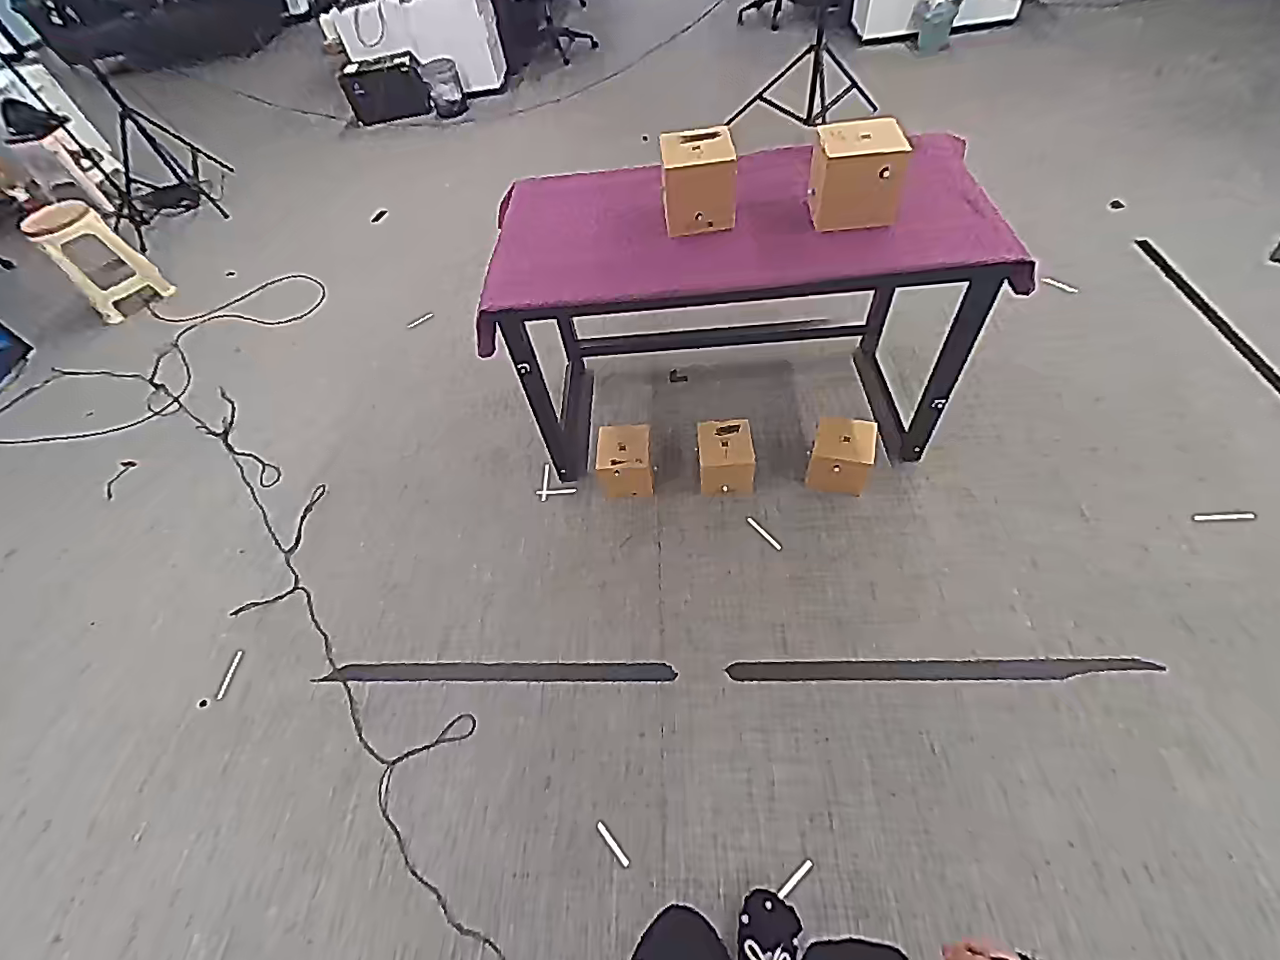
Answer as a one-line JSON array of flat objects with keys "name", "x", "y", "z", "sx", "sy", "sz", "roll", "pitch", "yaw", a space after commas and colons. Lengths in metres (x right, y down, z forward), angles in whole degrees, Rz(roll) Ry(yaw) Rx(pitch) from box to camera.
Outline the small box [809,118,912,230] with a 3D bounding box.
[{"name": "small box", "x": 0.500, "y": -0.704, "z": 1.252, "sx": 0.179, "sy": 0.176, "sz": 0.168, "roll": -2, "pitch": 53, "yaw": 7}]

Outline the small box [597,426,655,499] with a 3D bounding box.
[{"name": "small box", "x": -0.040, "y": -0.057, "z": 1.770, "sx": 0.168, "sy": 0.176, "sz": 0.179, "roll": -2, "pitch": 53, "yaw": 7}]

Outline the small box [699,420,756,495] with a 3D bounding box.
[{"name": "small box", "x": 0.275, "y": -0.070, "z": 1.732, "sx": 0.168, "sy": 0.176, "sz": 0.179, "roll": -4, "pitch": 55, "yaw": 6}]

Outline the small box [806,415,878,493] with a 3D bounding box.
[{"name": "small box", "x": 0.629, "y": -0.076, "z": 1.687, "sx": 0.179, "sy": 0.176, "sz": 0.168, "roll": 10, "pitch": 57, "yaw": 17}]
